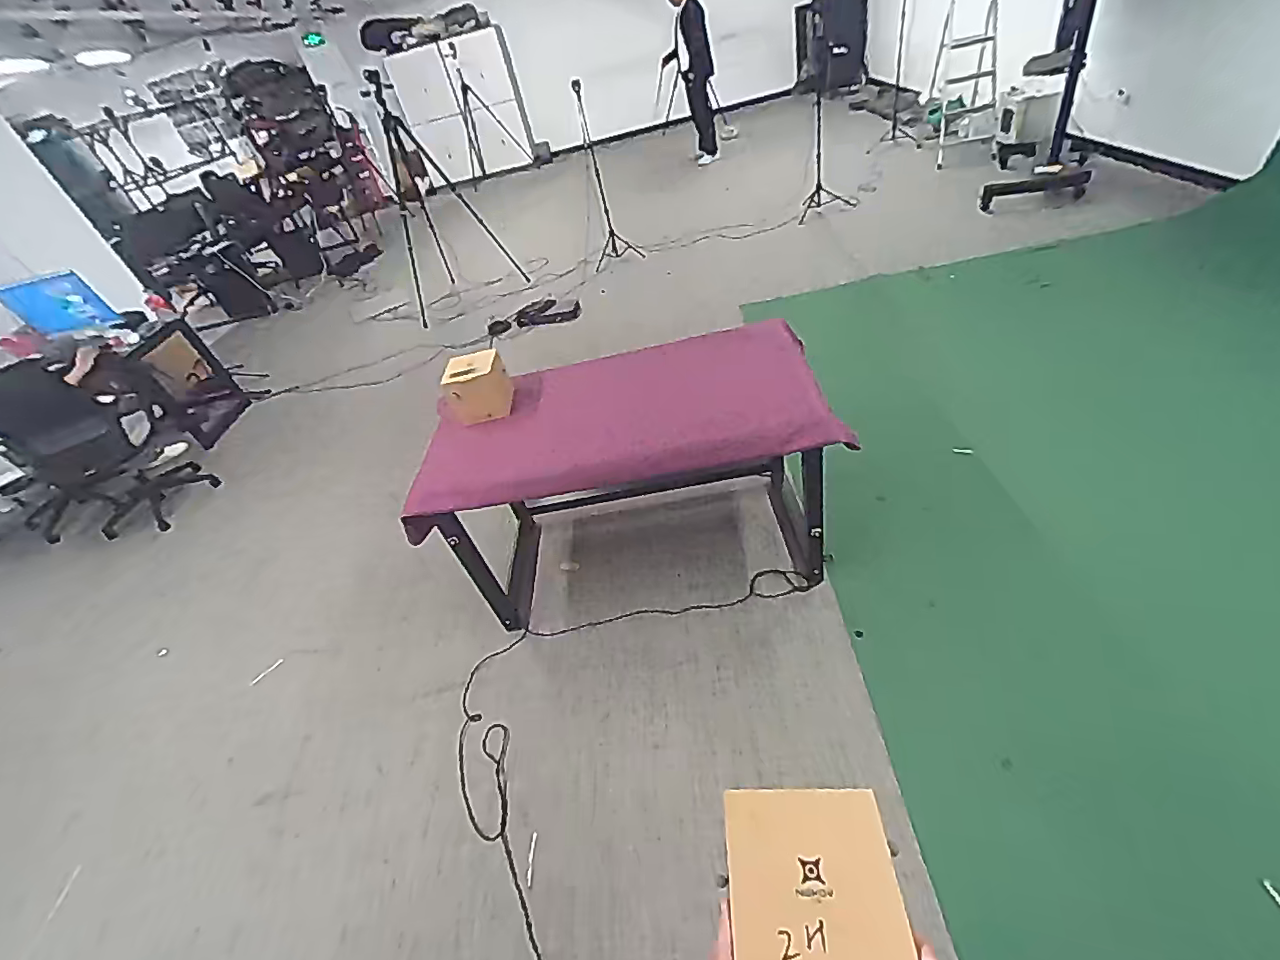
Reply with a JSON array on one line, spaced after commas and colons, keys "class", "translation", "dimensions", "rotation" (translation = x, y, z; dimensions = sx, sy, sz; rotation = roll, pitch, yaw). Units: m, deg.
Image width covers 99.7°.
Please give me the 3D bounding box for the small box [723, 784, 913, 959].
[{"class": "small box", "translation": [0.179, 0.460, 0.590], "dimensions": [0.168, 0.176, 0.179], "rotation": [-5, 38, 8]}]
